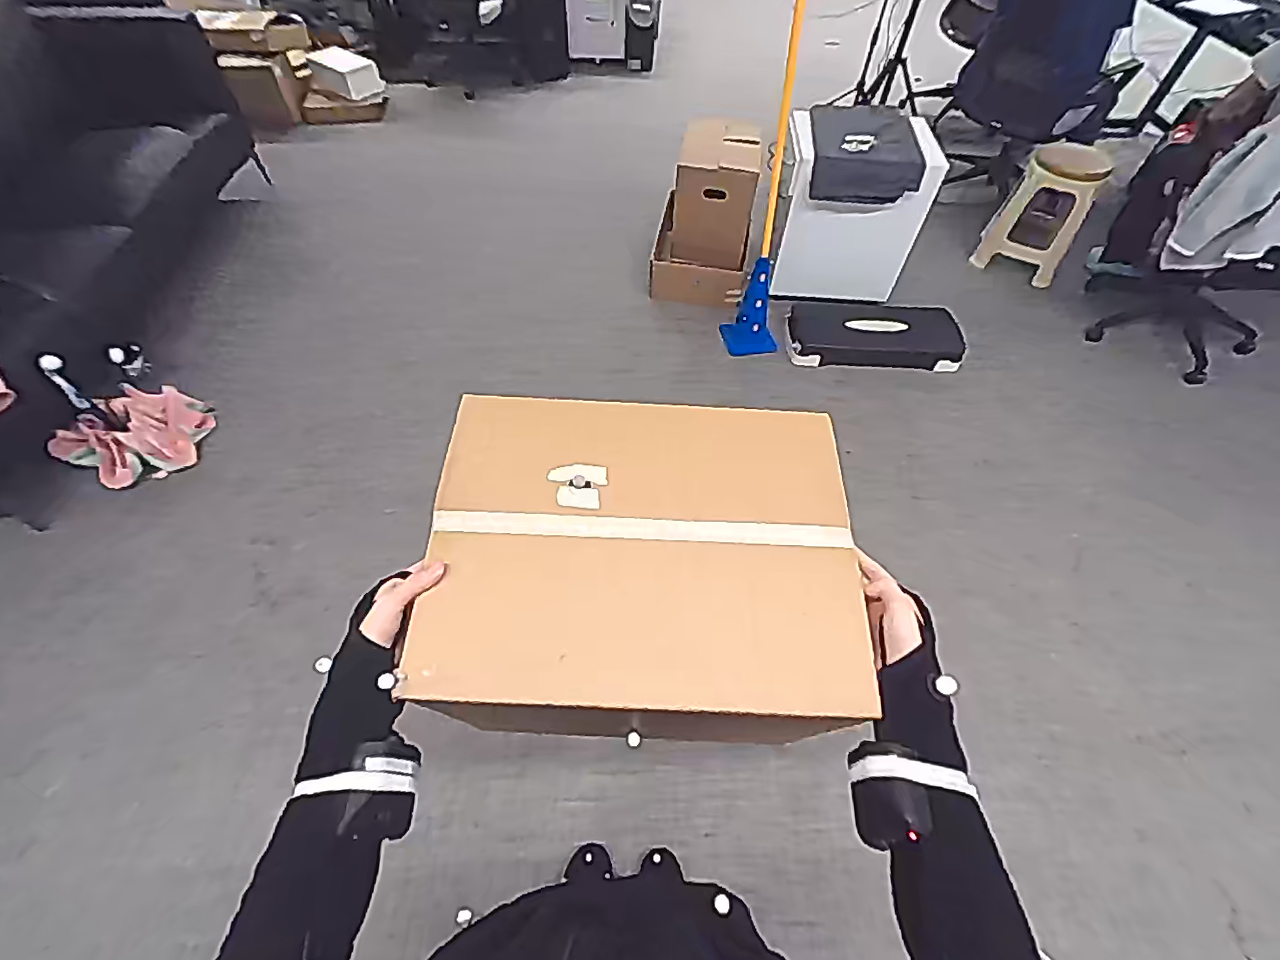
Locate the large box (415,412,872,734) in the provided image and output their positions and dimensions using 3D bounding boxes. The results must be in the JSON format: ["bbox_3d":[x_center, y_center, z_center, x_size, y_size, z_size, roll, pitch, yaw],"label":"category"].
[{"bbox_3d":[0.006,0.133,0.666,0.408,0.320,0.320,2,60,0],"label":"large box"}]
